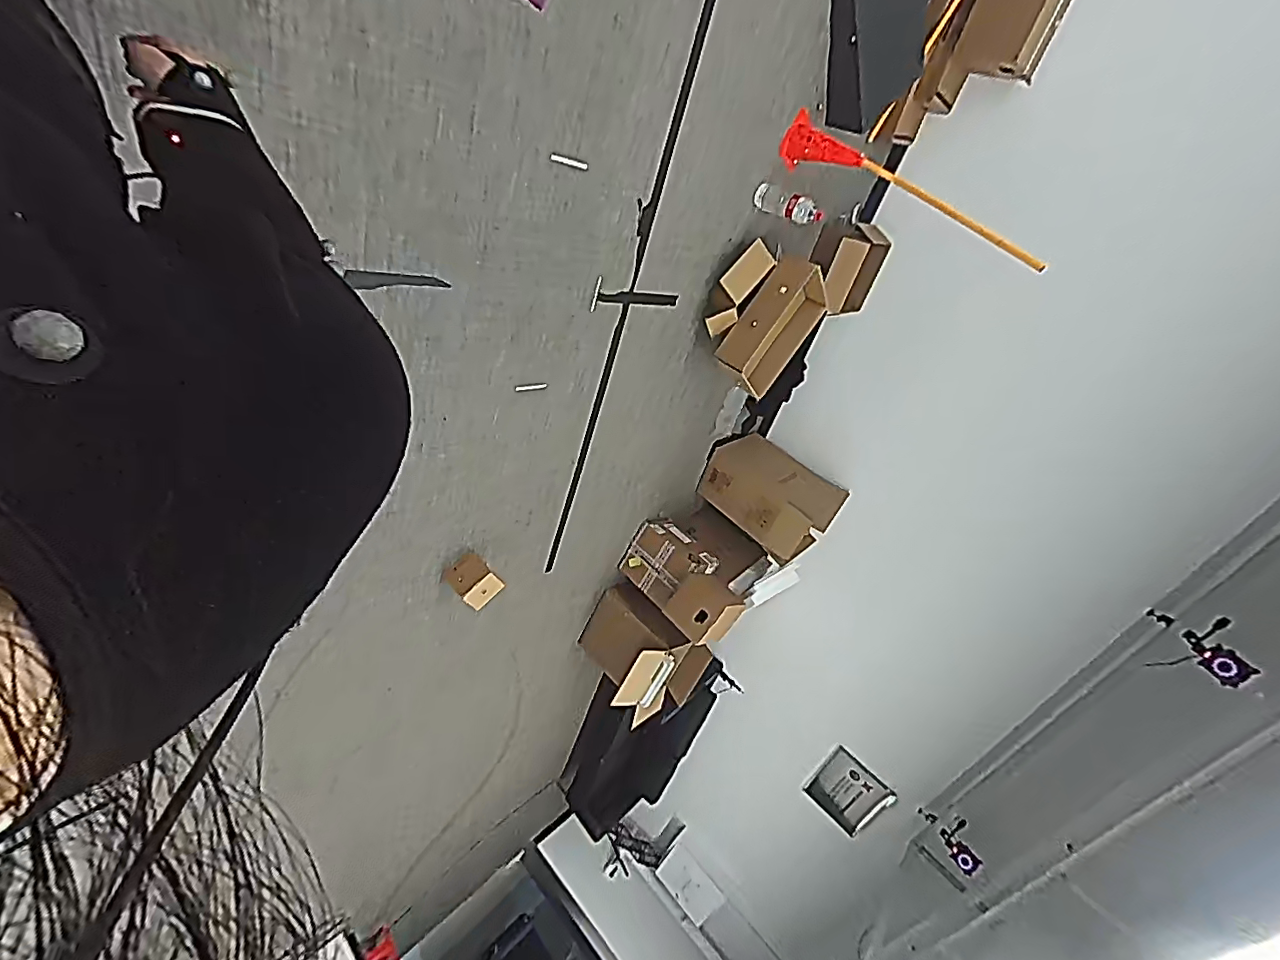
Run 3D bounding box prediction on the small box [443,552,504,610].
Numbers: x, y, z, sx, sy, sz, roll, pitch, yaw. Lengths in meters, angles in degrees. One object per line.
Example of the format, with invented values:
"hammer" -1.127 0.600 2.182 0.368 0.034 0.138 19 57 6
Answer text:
"small box" -0.759 0.454 2.459 0.168 0.176 0.179 -43 153 -15
